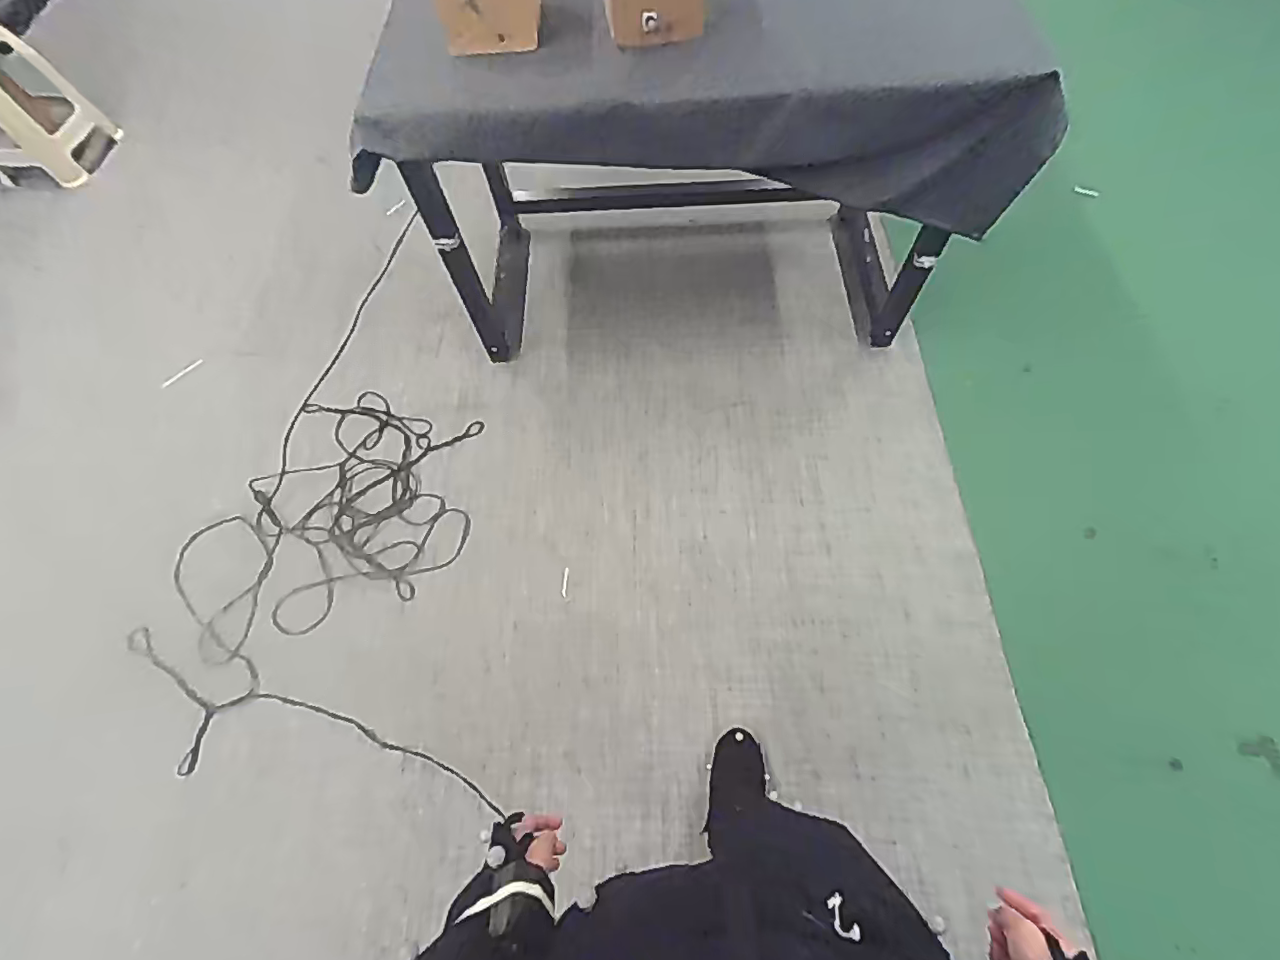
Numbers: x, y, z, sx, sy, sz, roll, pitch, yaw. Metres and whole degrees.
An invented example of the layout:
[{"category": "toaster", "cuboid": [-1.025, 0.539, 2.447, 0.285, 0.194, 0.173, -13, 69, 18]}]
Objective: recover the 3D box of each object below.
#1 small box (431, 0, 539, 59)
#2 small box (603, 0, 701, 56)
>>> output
[{"category": "small box", "cuboid": [-0.284, -0.901, 0.985, 0.168, 0.176, 0.179, -3, 63, 1]}, {"category": "small box", "cuboid": [0.015, -0.911, 0.975, 0.168, 0.176, 0.179, -9, 64, 0]}]
